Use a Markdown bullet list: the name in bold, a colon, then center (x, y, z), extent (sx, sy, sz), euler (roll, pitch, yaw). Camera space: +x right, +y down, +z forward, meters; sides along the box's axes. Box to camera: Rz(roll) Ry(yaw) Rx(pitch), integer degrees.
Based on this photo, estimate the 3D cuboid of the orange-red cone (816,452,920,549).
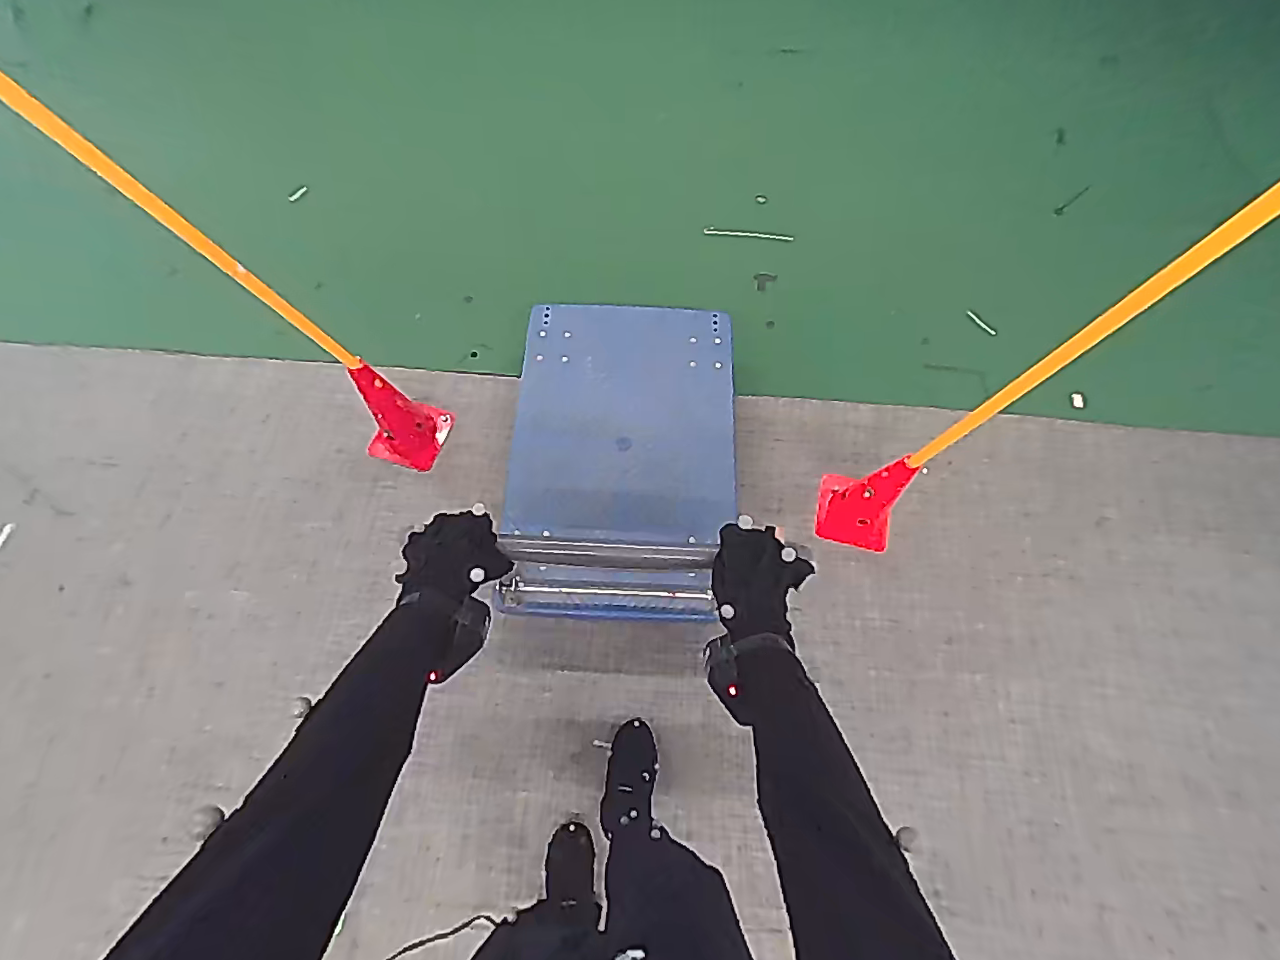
- **orange-red cone**: center (0.600, 0.020, 1.351), extent (0.198, 0.360, 0.199), euler (15, 70, 6)
